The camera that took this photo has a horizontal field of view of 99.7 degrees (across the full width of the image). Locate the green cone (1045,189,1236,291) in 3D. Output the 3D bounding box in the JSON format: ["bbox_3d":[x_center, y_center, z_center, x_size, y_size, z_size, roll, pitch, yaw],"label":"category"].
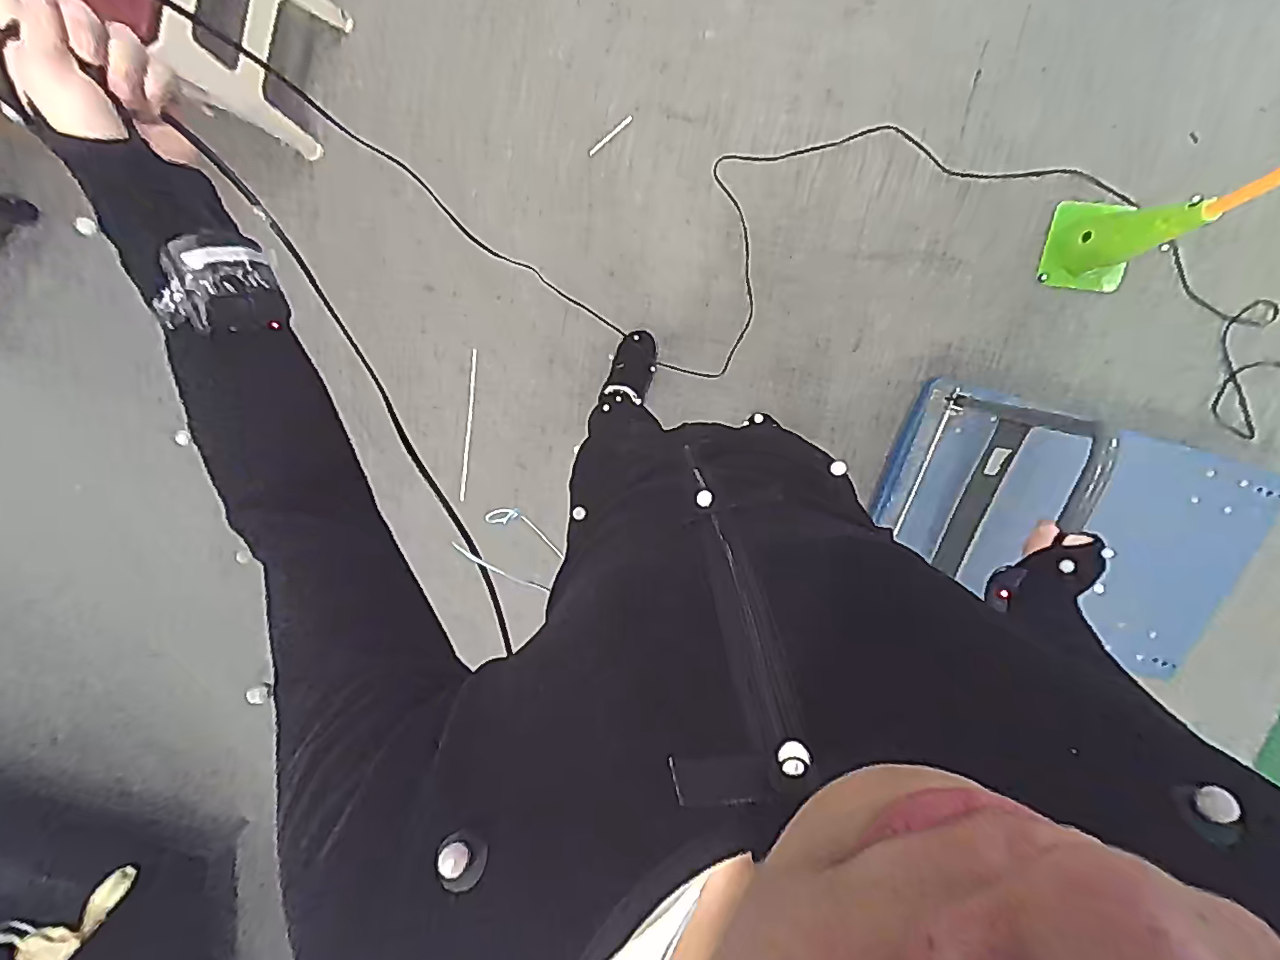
[{"bbox_3d":[1.107,-0.546,1.173,0.200,0.368,0.202,8,102,6],"label":"green cone"}]
